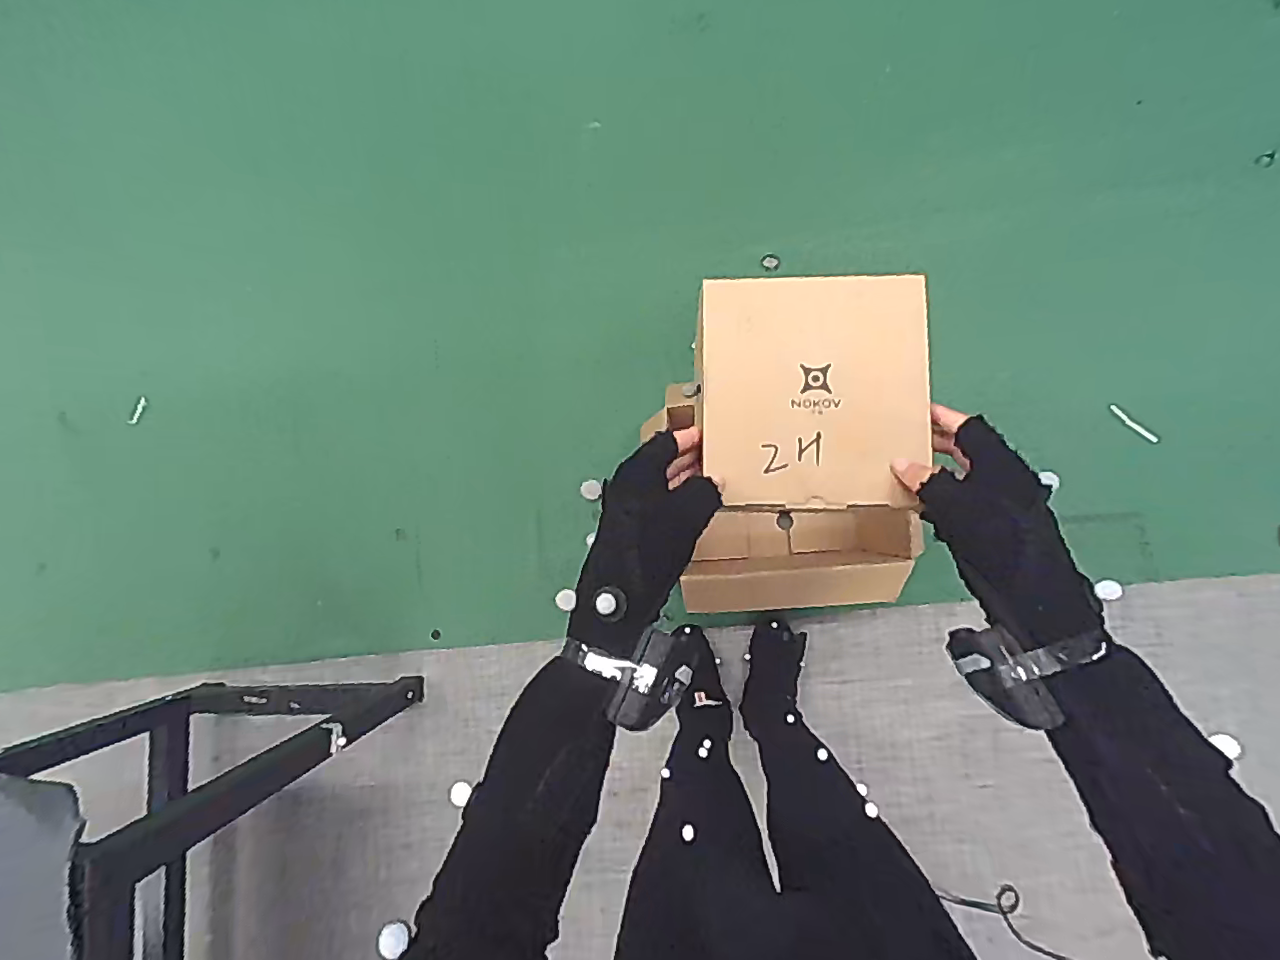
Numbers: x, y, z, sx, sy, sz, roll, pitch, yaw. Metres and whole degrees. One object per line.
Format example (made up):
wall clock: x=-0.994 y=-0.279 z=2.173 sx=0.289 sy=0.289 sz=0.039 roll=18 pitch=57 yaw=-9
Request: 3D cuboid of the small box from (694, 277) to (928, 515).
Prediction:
small box: x=0.134 y=-0.059 z=0.481 sx=0.168 sy=0.176 sz=0.179 roll=0 pitch=86 yaw=5
